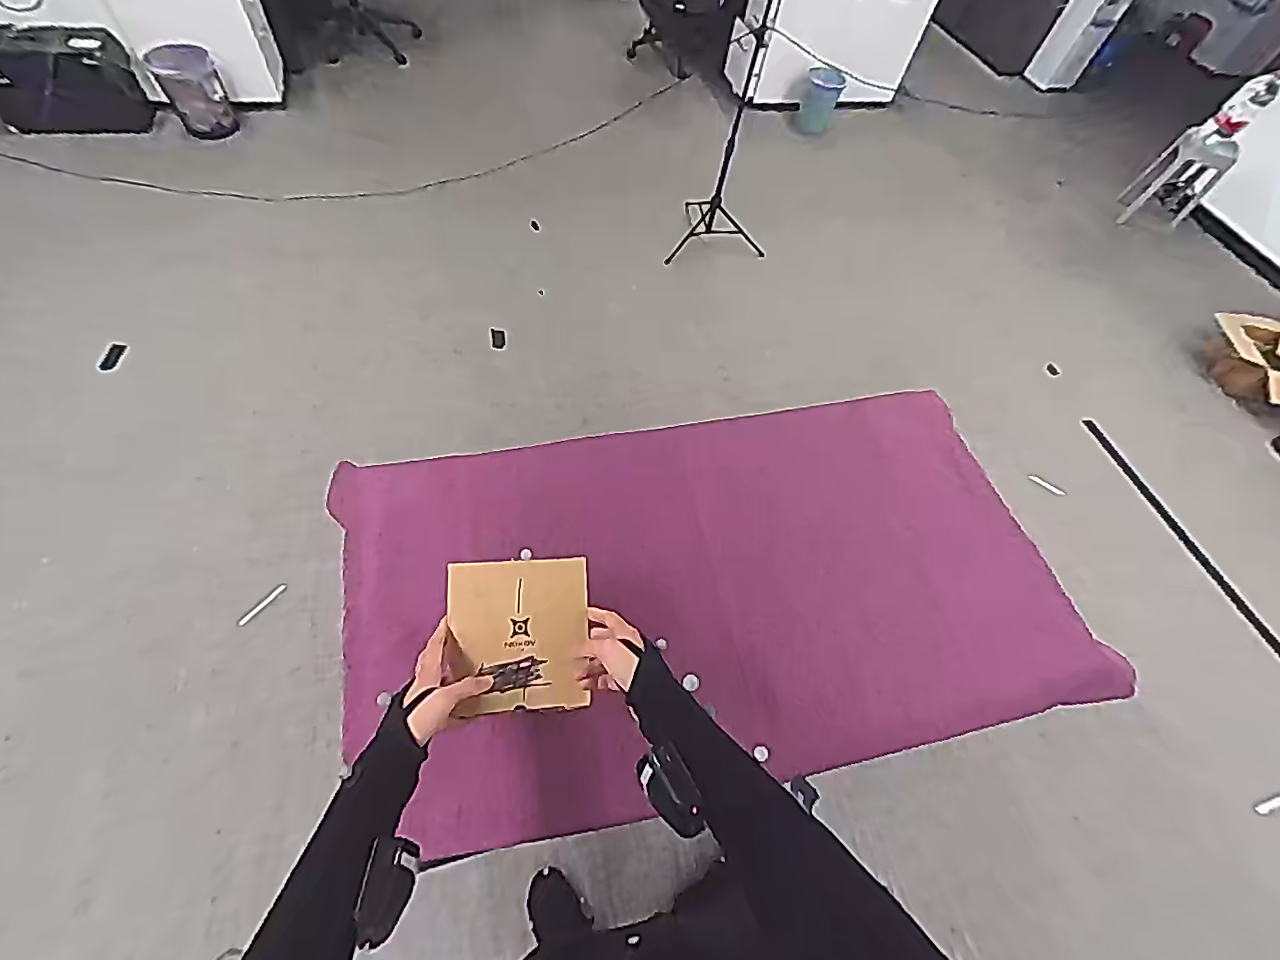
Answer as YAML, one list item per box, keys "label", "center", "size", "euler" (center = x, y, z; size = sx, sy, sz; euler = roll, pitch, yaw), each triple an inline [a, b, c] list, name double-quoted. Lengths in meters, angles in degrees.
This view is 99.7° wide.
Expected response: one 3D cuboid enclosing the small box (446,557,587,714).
- label: "small box"
  center: [-0.158, 0.194, 0.721]
  size: [0.168, 0.176, 0.179]
  euler: [-1, 81, -11]
